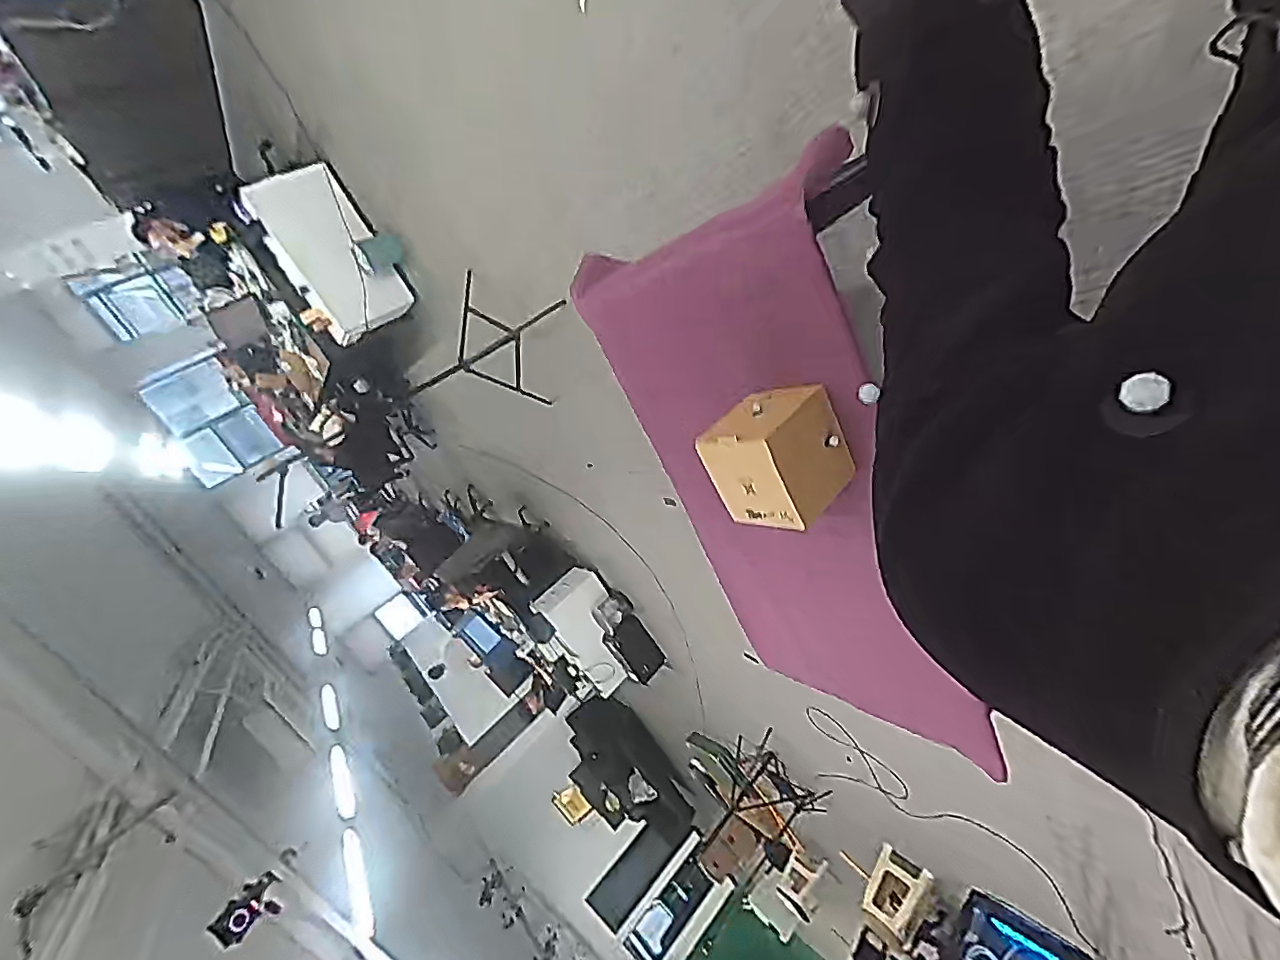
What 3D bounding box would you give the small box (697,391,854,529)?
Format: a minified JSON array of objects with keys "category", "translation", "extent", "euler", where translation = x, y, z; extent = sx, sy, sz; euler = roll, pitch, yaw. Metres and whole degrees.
[{"category":"small box","translation":[0.237,-0.041,0.933],"extent":[0.168,0.176,0.179],"euler":[3,128,55]}]
